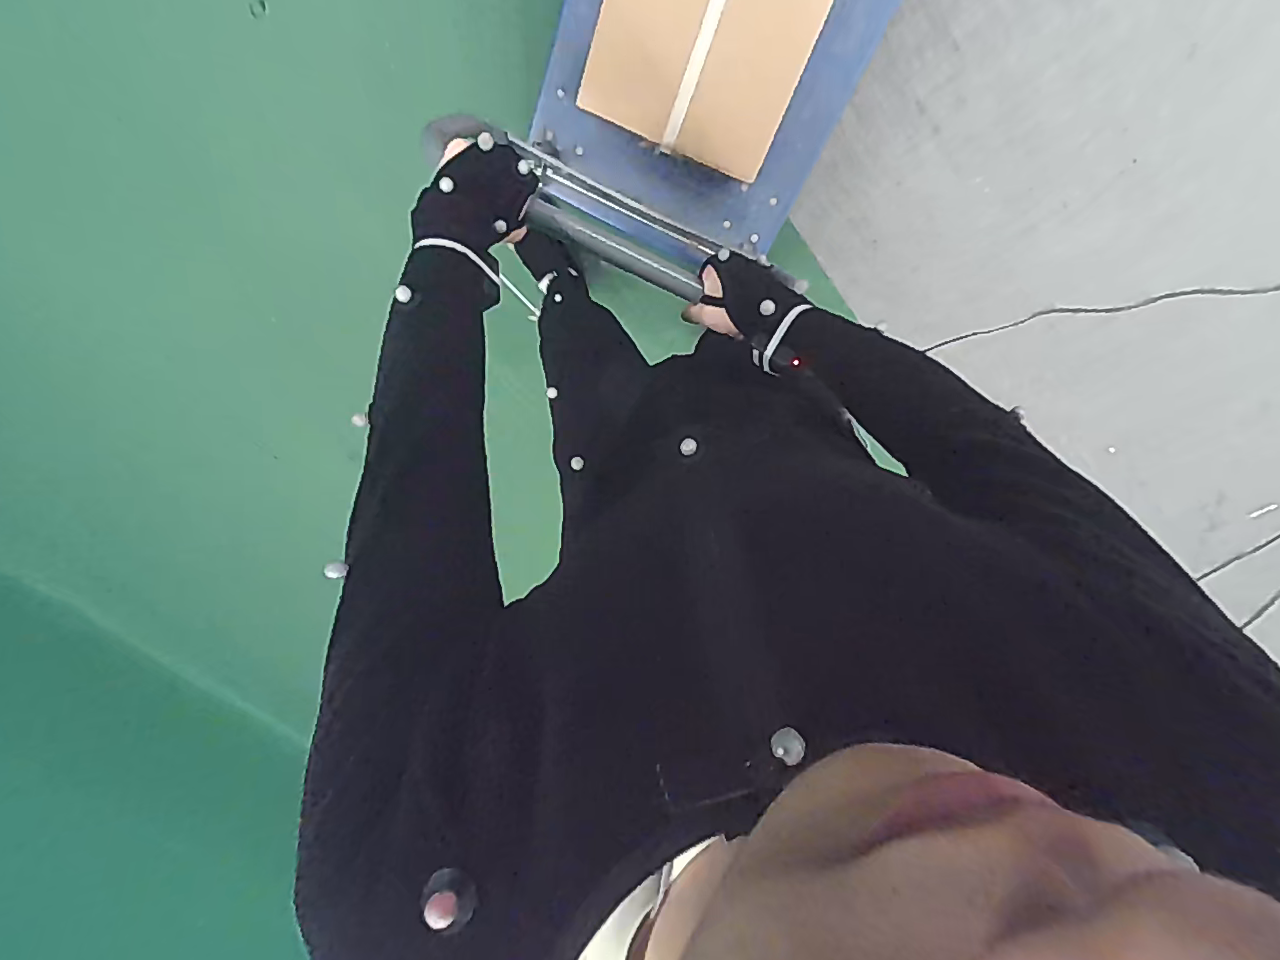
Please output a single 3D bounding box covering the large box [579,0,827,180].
[{"bbox_3d":[0.122,-0.778,0.915,0.320,0.320,0.408,21,120,-7],"label":"large box"}]
